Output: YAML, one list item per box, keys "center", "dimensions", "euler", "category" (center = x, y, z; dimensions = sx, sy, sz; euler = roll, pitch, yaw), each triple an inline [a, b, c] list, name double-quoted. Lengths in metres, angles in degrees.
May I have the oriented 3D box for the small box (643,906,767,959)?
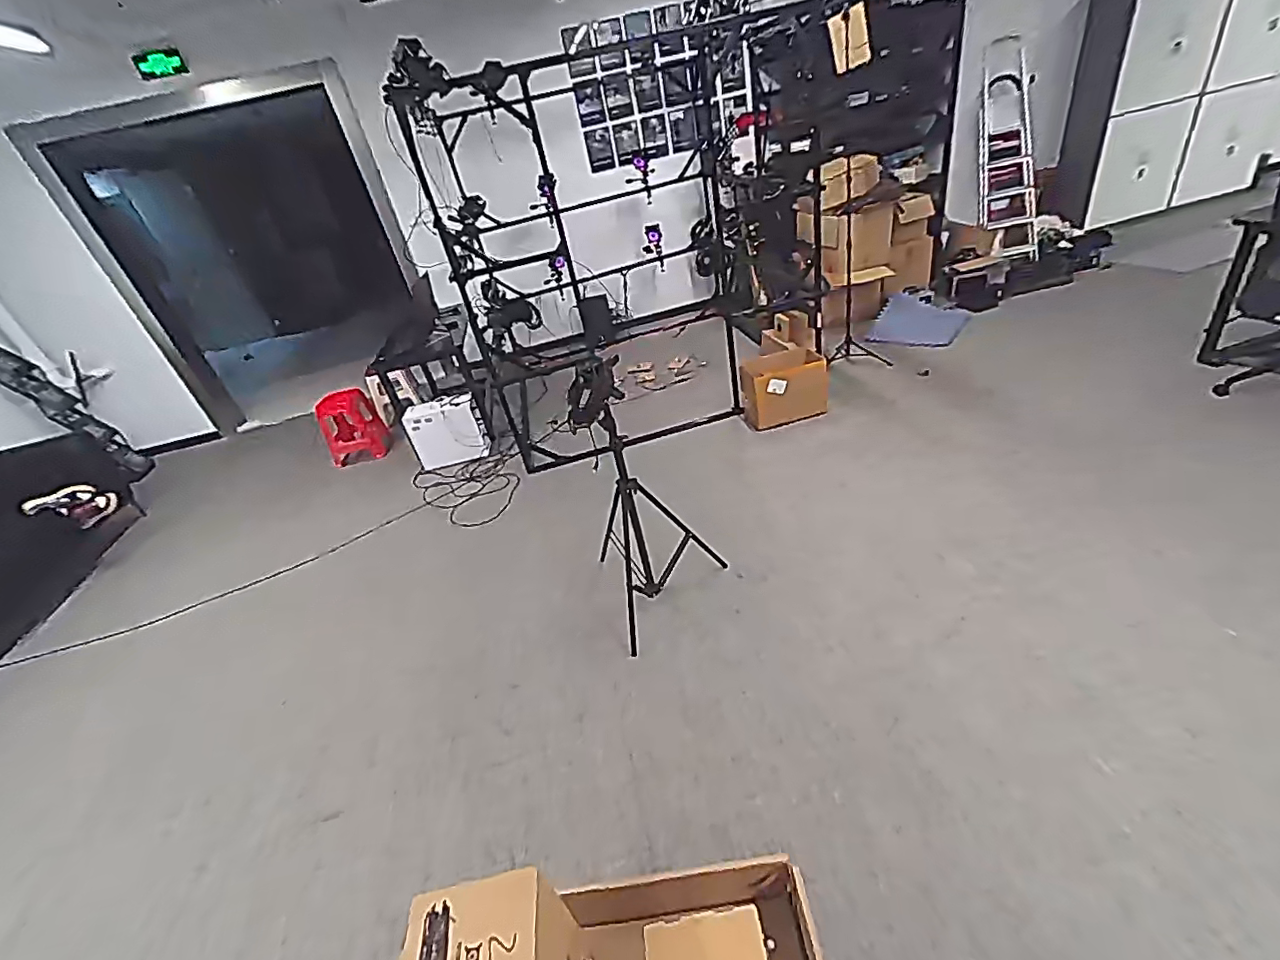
- center: [0.106, 0.738, 0.746]
  dimensions: [0.168, 0.176, 0.179]
  euler: [-12, 31, 2]
  category: "small box"

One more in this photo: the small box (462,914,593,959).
- center: [-0.156, 0.779, 0.777]
  dimensions: [0.168, 0.176, 0.179]
  euler: [-16, 32, 0]
  category: "small box"
